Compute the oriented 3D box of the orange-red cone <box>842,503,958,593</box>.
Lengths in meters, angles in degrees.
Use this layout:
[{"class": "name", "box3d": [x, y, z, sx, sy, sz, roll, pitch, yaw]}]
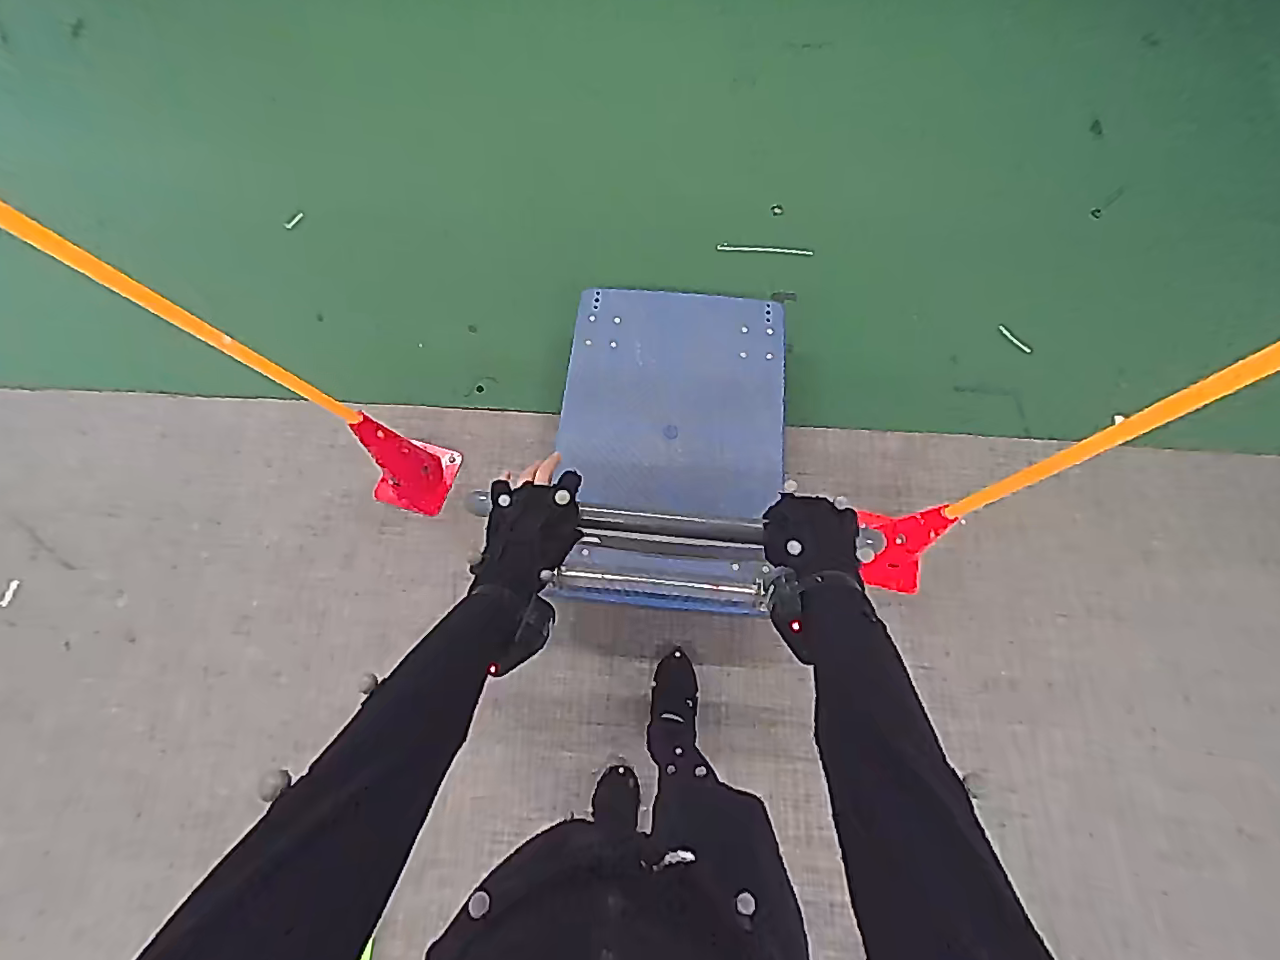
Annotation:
[{"class": "orange-red cone", "box3d": [0.644, 0.127, 1.278, 0.198, 0.360, 0.199, 13, 71, 6]}]
